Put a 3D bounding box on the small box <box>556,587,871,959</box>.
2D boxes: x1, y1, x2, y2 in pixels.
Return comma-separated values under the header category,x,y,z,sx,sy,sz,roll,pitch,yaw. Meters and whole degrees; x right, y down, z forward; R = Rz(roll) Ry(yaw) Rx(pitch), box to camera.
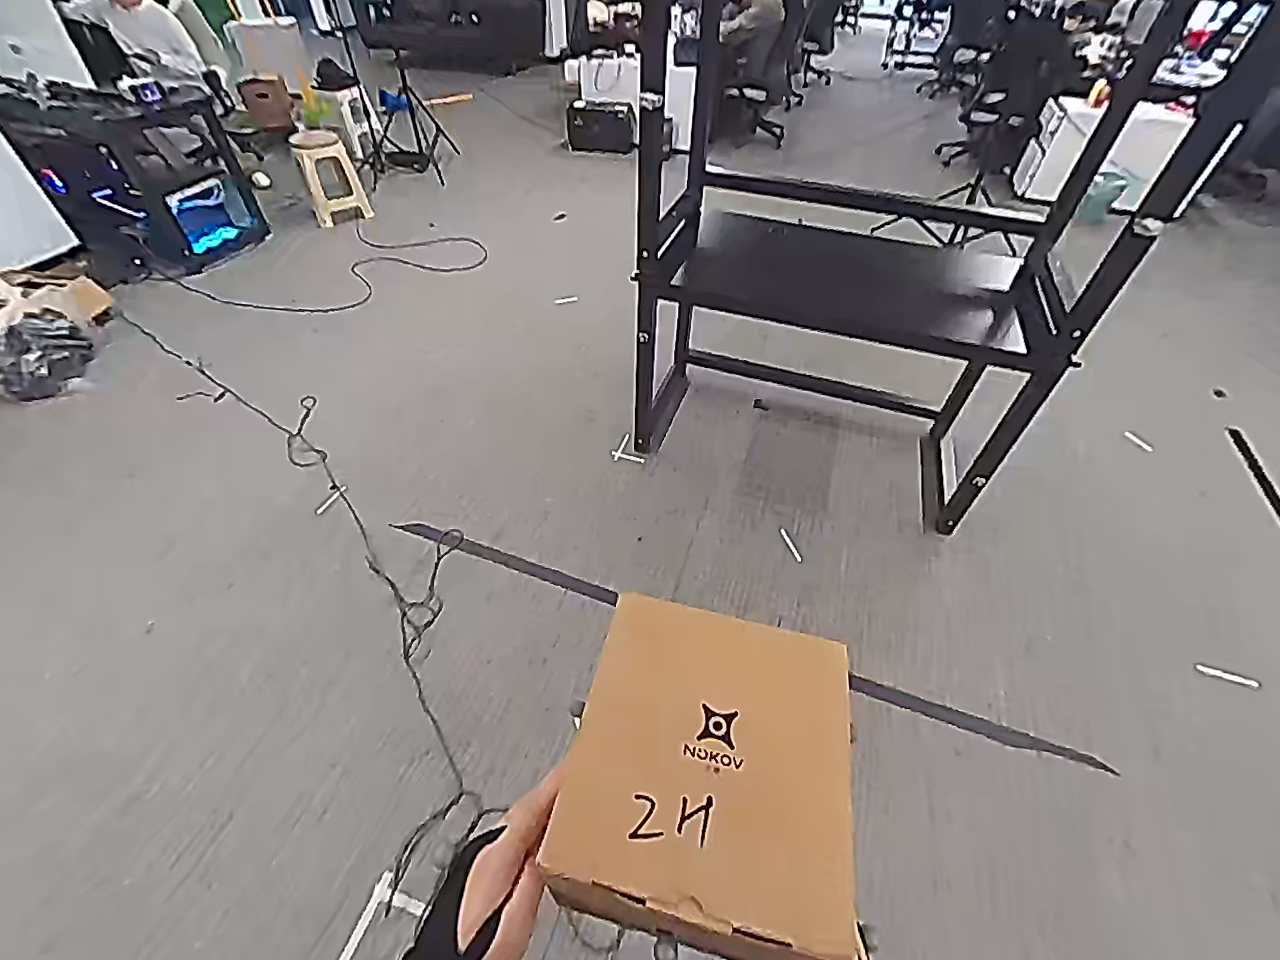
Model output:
category,x,y,z,sx,sy,sz,roll,pitch,yaw
small box,0.049,0.209,0.384,0.168,0.176,0.179,11,46,8
